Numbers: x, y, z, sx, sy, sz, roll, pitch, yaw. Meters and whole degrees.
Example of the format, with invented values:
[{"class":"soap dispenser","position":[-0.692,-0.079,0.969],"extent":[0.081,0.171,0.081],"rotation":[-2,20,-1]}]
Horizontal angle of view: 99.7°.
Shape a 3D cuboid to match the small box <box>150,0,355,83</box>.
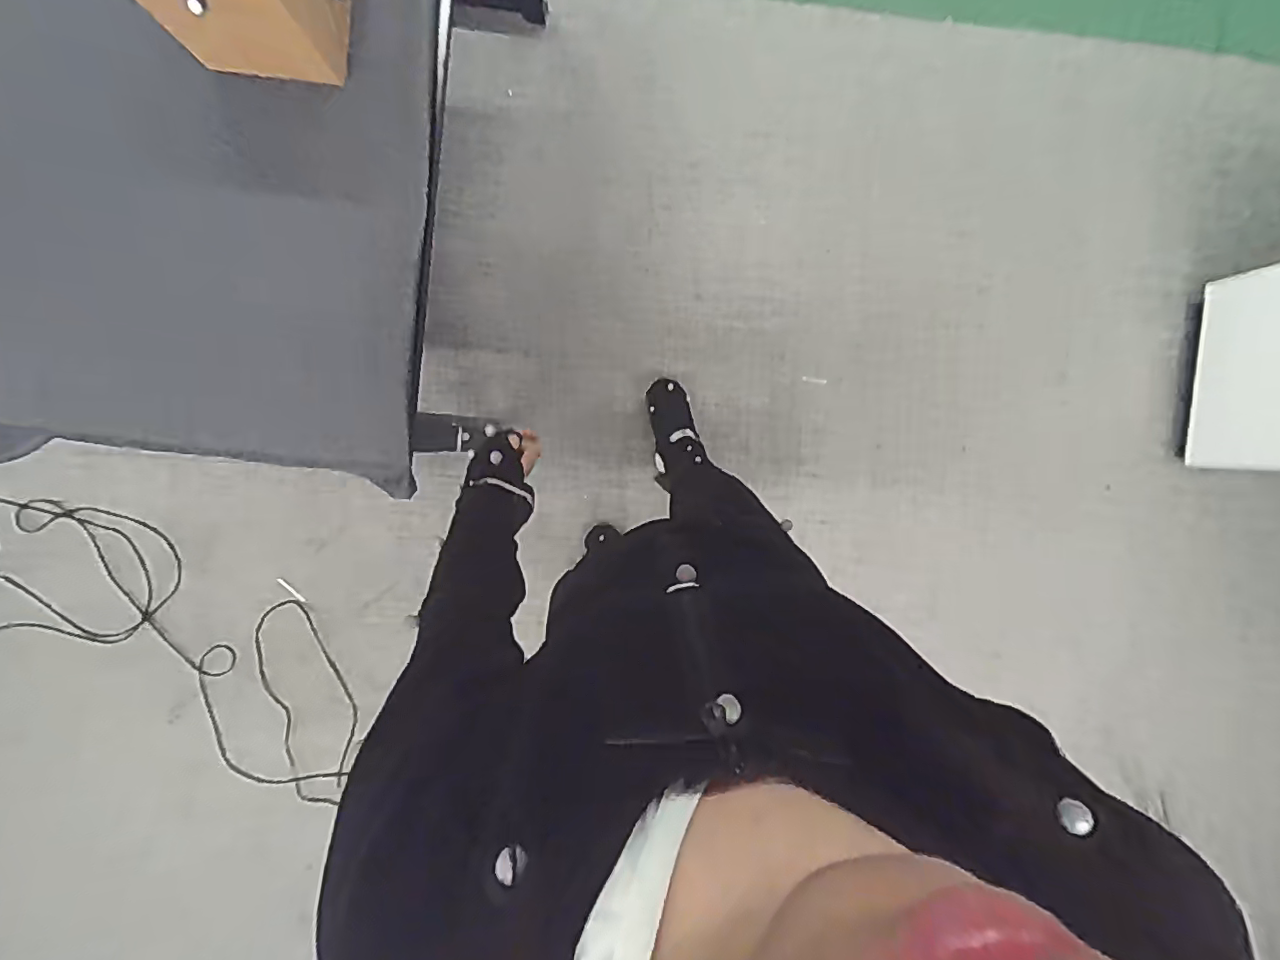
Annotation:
[{"class":"small box","position":[-0.456,-0.596,0.617],"extent":[0.179,0.176,0.168],"rotation":[5,93,-3]}]
